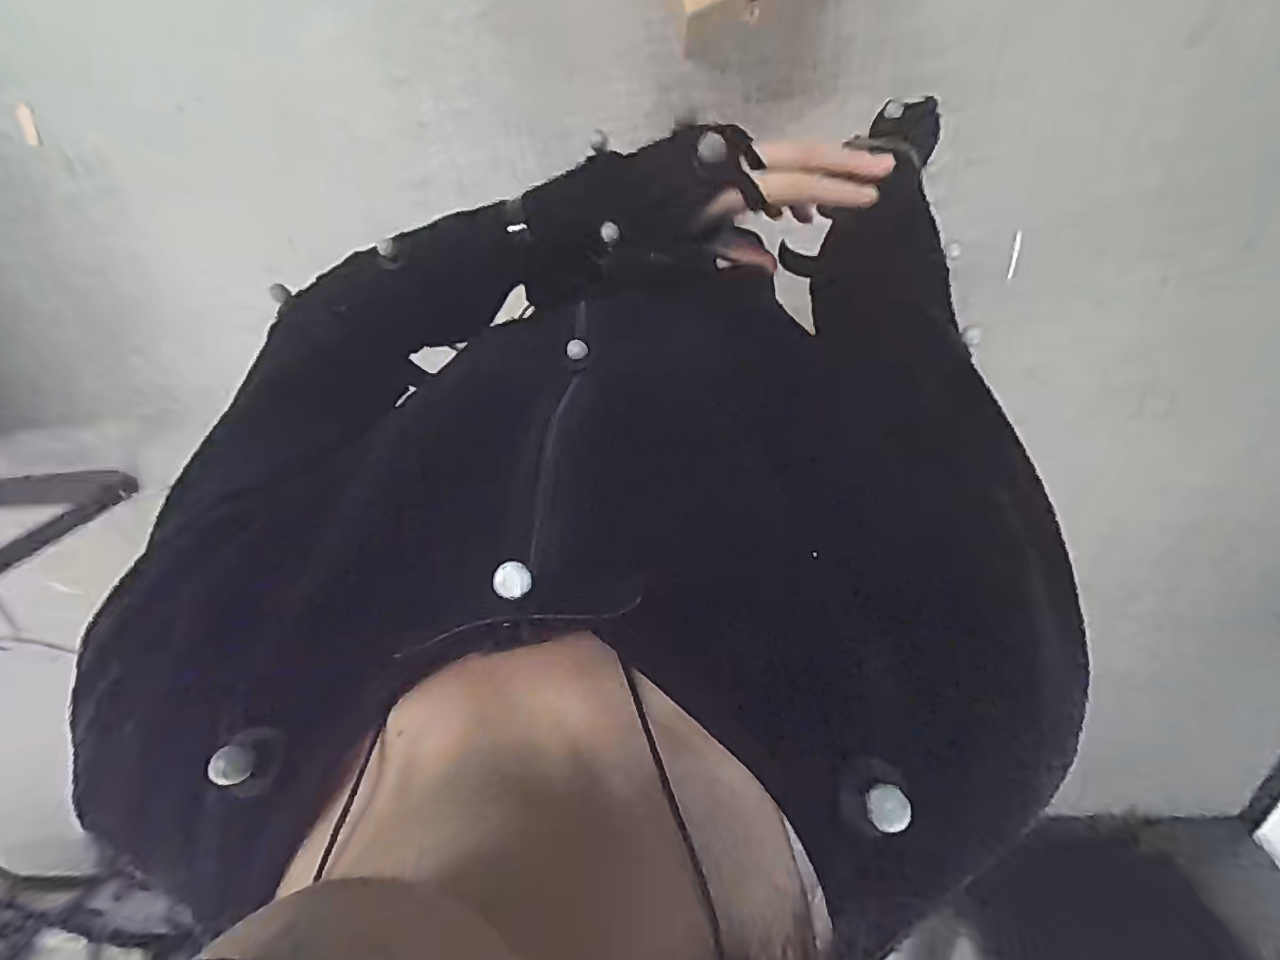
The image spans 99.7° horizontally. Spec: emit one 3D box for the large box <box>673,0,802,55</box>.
[{"bbox_3d":[0.163,-1.025,0.888,0.320,0.320,0.408,-17,116,11],"label":"large box"}]
